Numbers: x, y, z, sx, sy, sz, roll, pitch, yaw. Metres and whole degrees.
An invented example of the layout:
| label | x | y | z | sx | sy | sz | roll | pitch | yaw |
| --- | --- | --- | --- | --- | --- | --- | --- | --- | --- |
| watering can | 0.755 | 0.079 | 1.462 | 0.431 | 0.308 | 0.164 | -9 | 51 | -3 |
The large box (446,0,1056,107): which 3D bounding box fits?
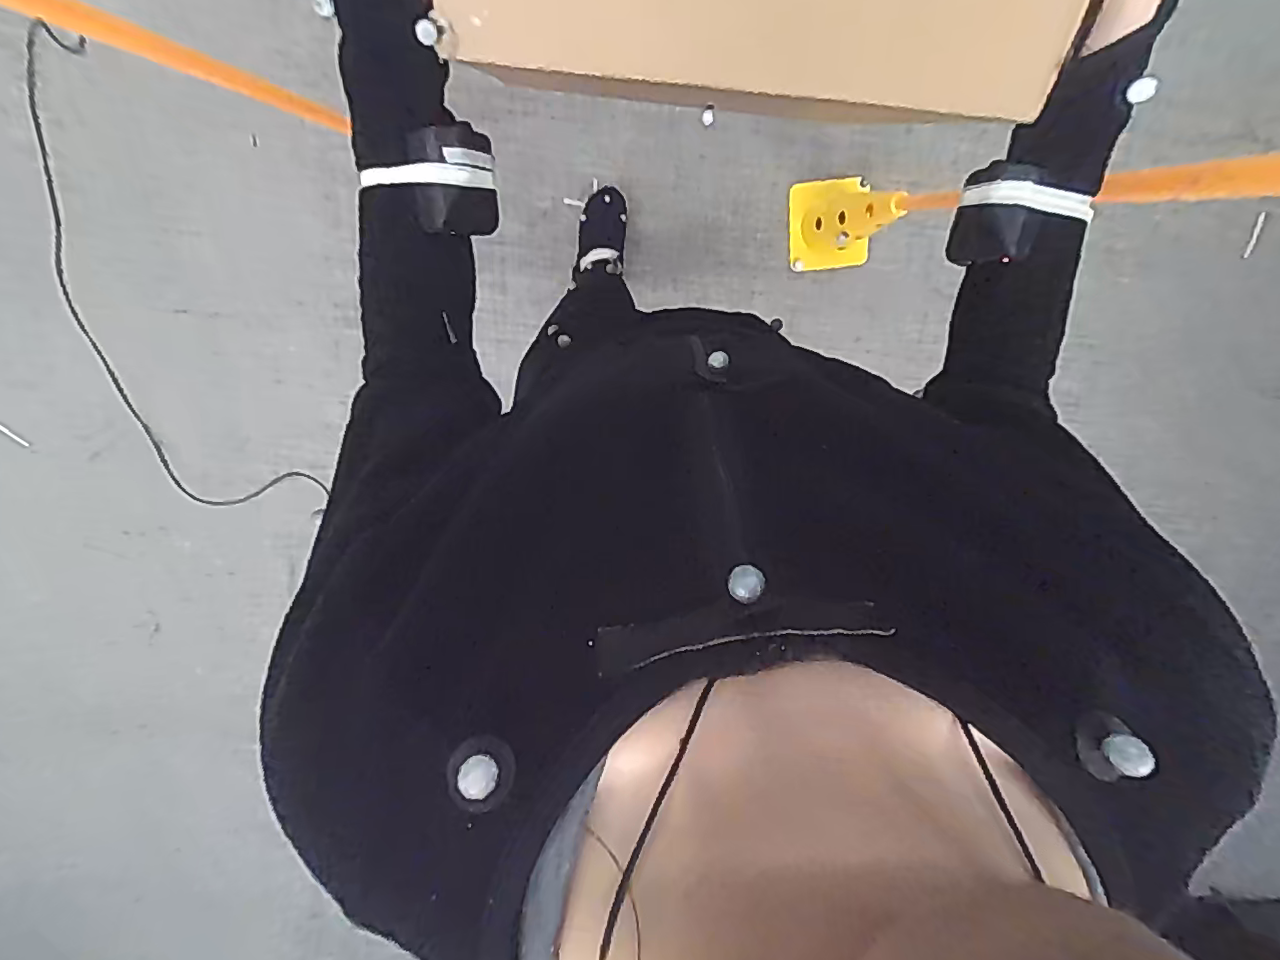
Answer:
| label | x | y | z | sx | sy | sz | roll | pitch | yaw |
| --- | --- | --- | --- | --- | --- | --- | --- | --- | --- |
| large box | 0.077 | -0.483 | 0.408 | 0.408 | 0.320 | 0.320 | 2 | 123 | -5 |
